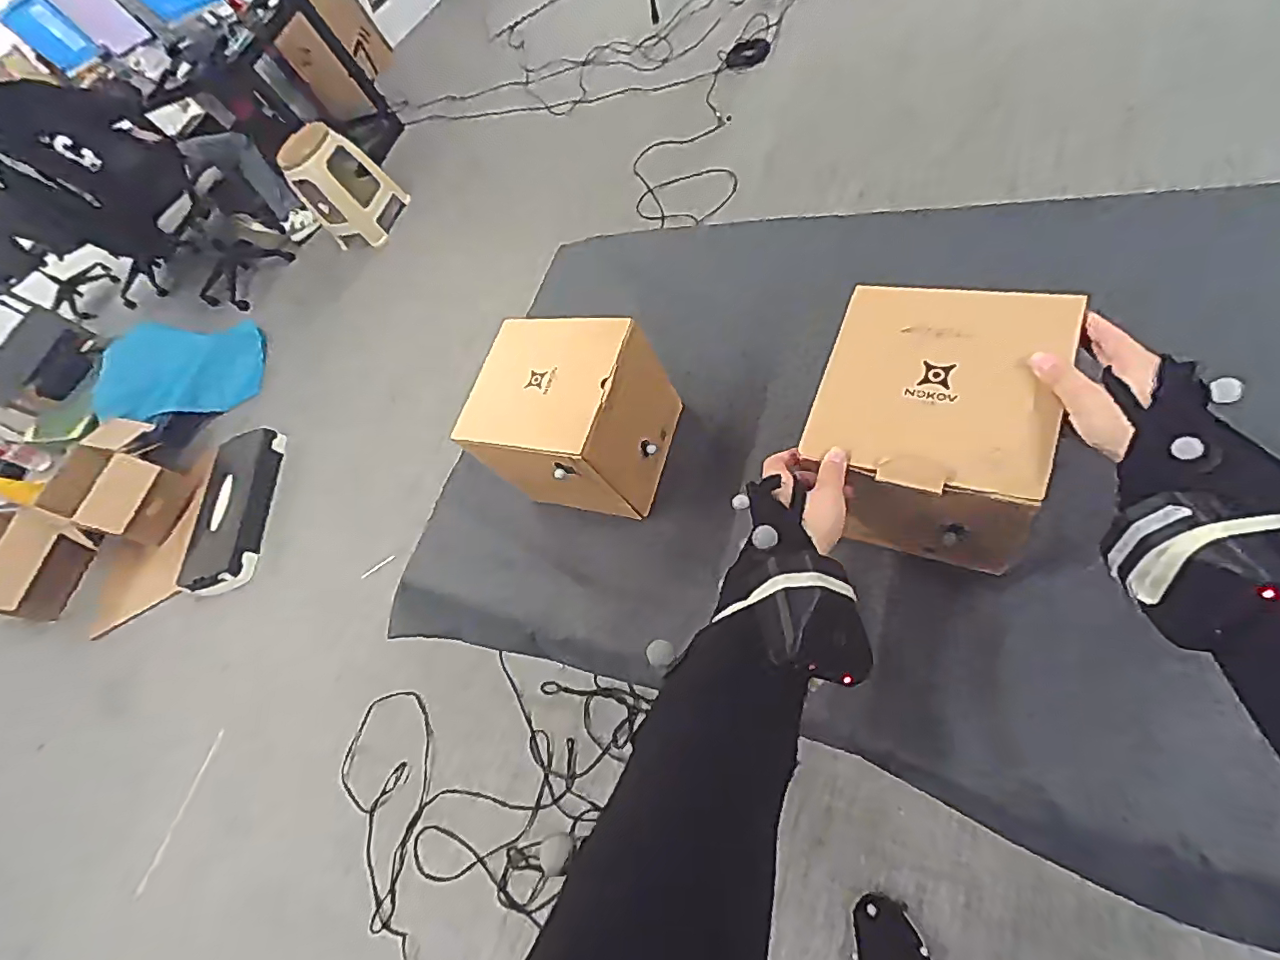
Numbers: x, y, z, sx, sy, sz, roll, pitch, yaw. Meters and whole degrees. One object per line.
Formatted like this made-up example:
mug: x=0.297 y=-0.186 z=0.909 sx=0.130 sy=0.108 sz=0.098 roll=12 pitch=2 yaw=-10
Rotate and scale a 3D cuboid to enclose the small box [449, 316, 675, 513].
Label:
small box: x=-0.079 y=-0.073 z=0.639 sx=0.179 sy=0.176 sz=0.168 roll=8 pitch=68 yaw=26
